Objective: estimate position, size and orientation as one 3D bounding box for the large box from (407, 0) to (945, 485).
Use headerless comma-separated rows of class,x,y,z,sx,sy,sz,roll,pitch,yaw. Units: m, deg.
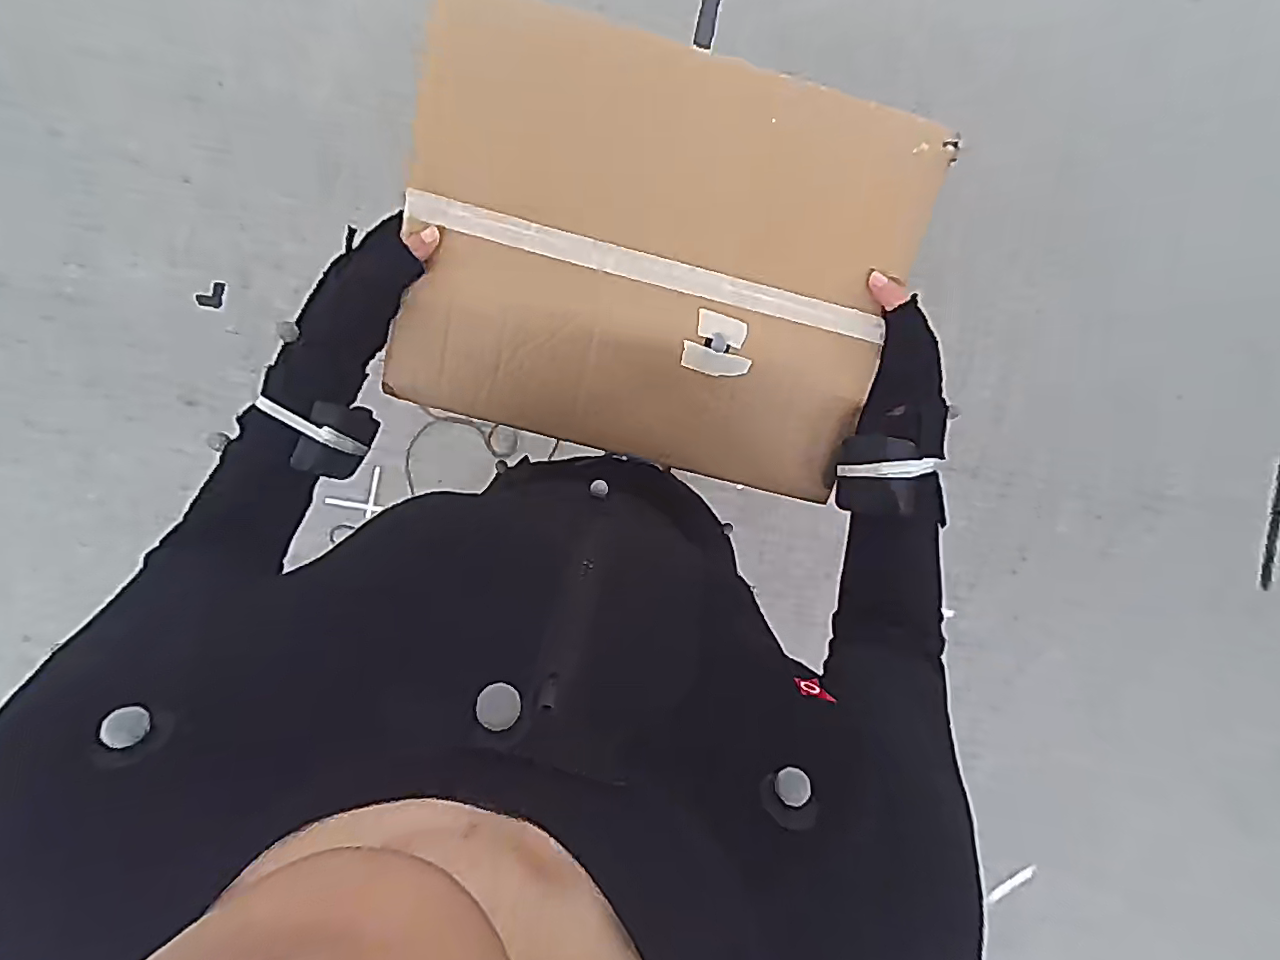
large box,0.015,-0.220,0.600,0.408,0.320,0.320,14,106,-5
